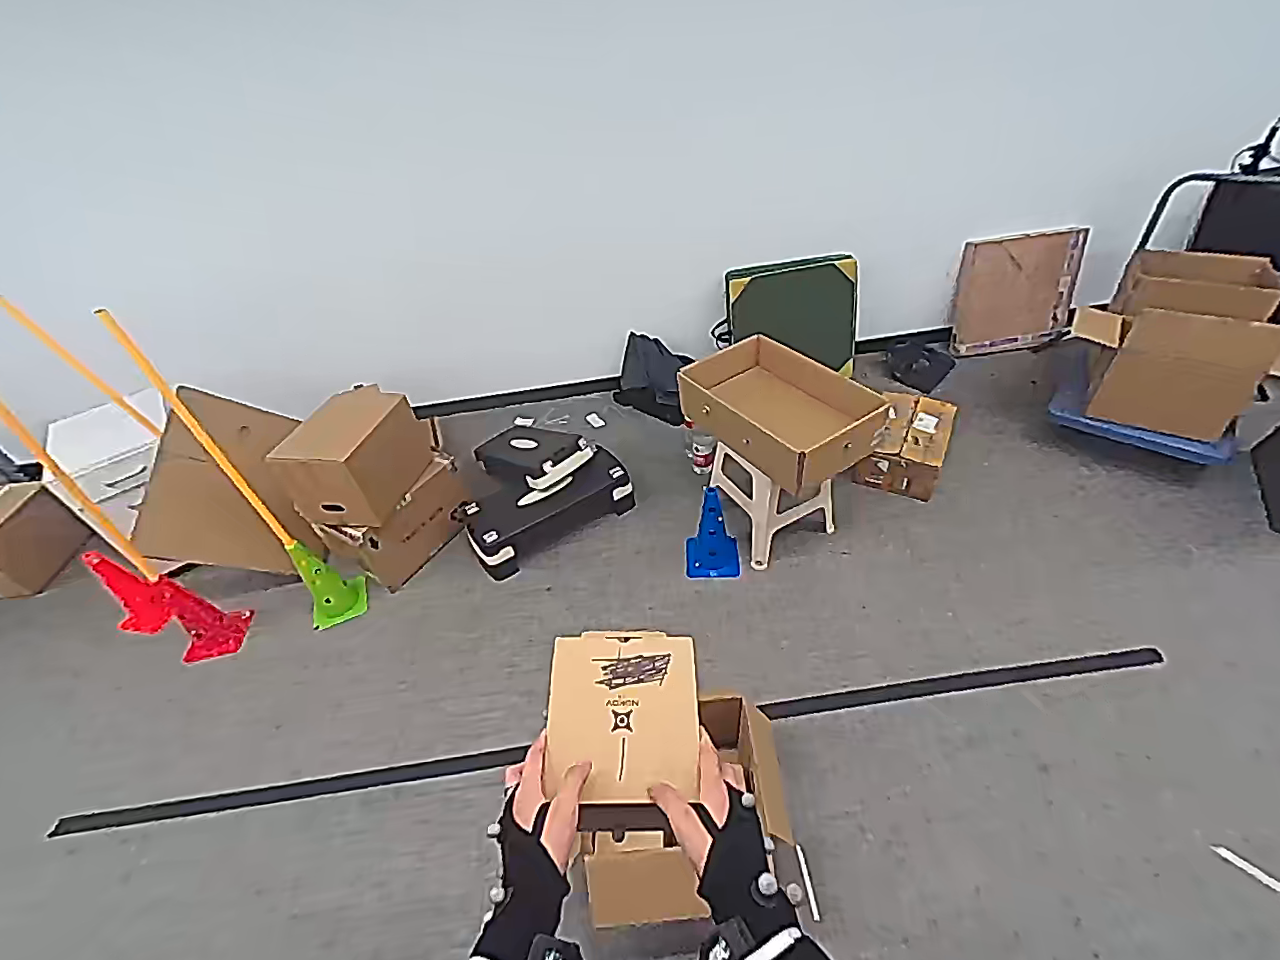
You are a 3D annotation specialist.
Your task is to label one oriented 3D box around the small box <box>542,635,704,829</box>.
[{"bbox_3d":[-0.018,0.304,0.652,0.168,0.176,0.179,0,50,0],"label":"small box"}]
